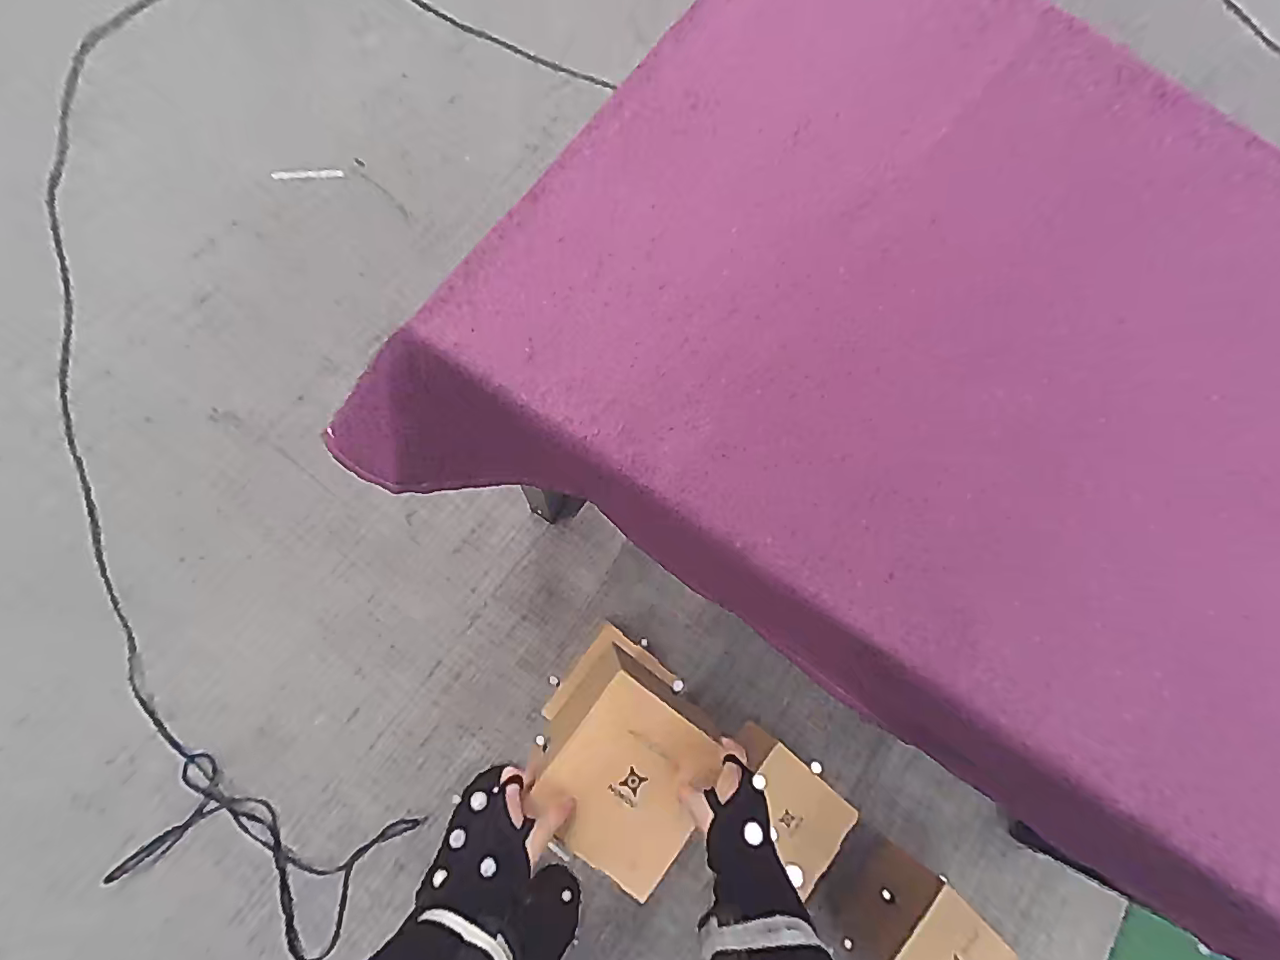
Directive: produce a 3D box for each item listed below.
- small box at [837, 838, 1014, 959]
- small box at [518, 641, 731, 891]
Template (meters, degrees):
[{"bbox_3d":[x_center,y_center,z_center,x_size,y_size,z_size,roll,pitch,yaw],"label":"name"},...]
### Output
[{"bbox_3d":[0.464,0.764,0.913,0.179,0.176,0.168,-43,86,-14],"label":"small box"},{"bbox_3d":[-0.021,0.324,0.656,0.168,0.176,0.179,38,81,-1],"label":"small box"}]
